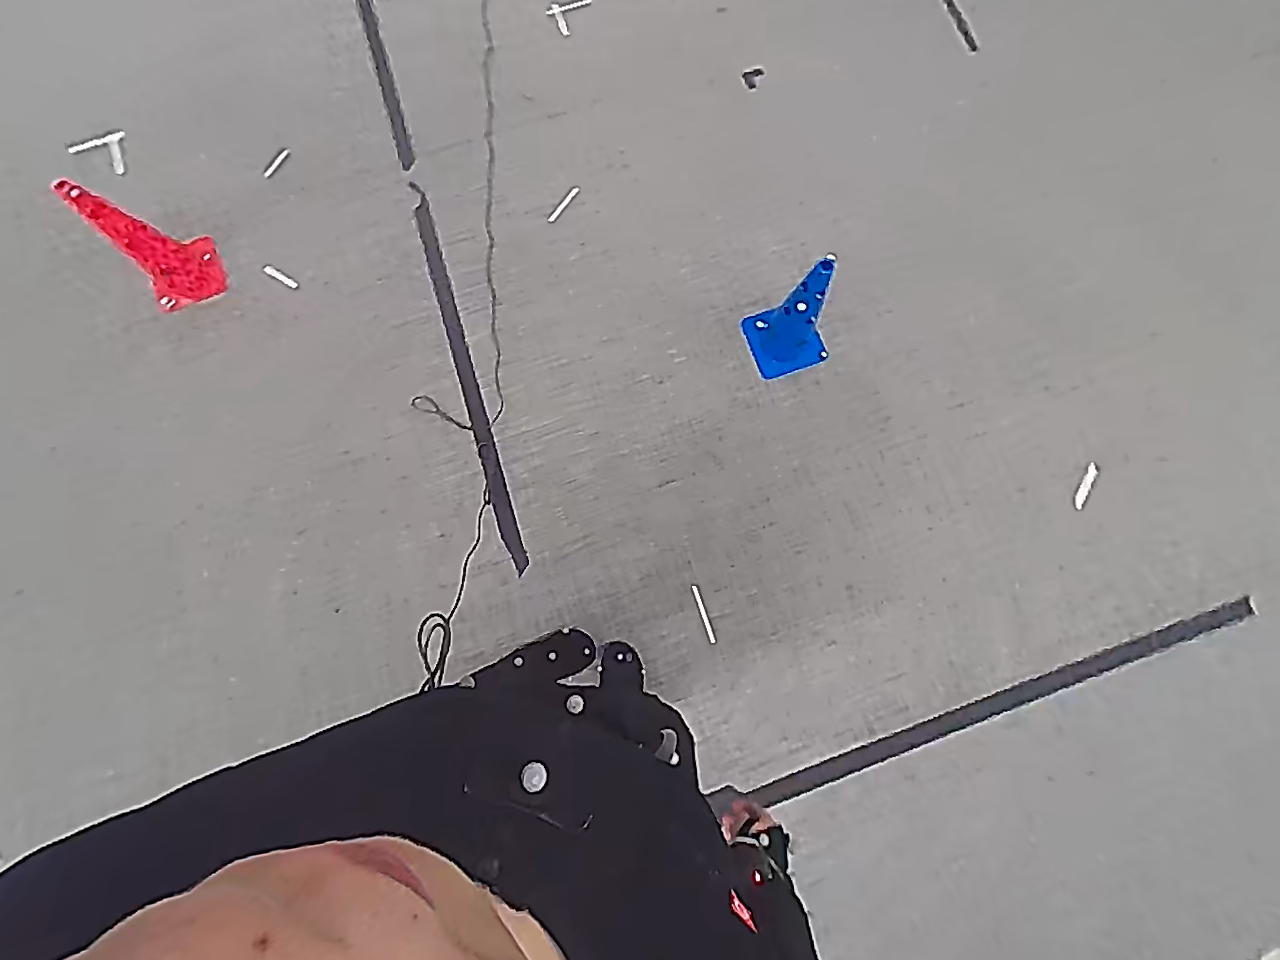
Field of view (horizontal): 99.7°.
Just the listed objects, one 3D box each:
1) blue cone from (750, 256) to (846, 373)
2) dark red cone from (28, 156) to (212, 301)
[{"bbox_3d":[0.418,-0.432,1.356,0.192,0.380,0.193,-17,79,-5],"label":"blue cone"},{"bbox_3d":[-1.329,-0.651,1.376,0.201,0.394,0.202,-25,79,-6],"label":"dark red cone"}]
